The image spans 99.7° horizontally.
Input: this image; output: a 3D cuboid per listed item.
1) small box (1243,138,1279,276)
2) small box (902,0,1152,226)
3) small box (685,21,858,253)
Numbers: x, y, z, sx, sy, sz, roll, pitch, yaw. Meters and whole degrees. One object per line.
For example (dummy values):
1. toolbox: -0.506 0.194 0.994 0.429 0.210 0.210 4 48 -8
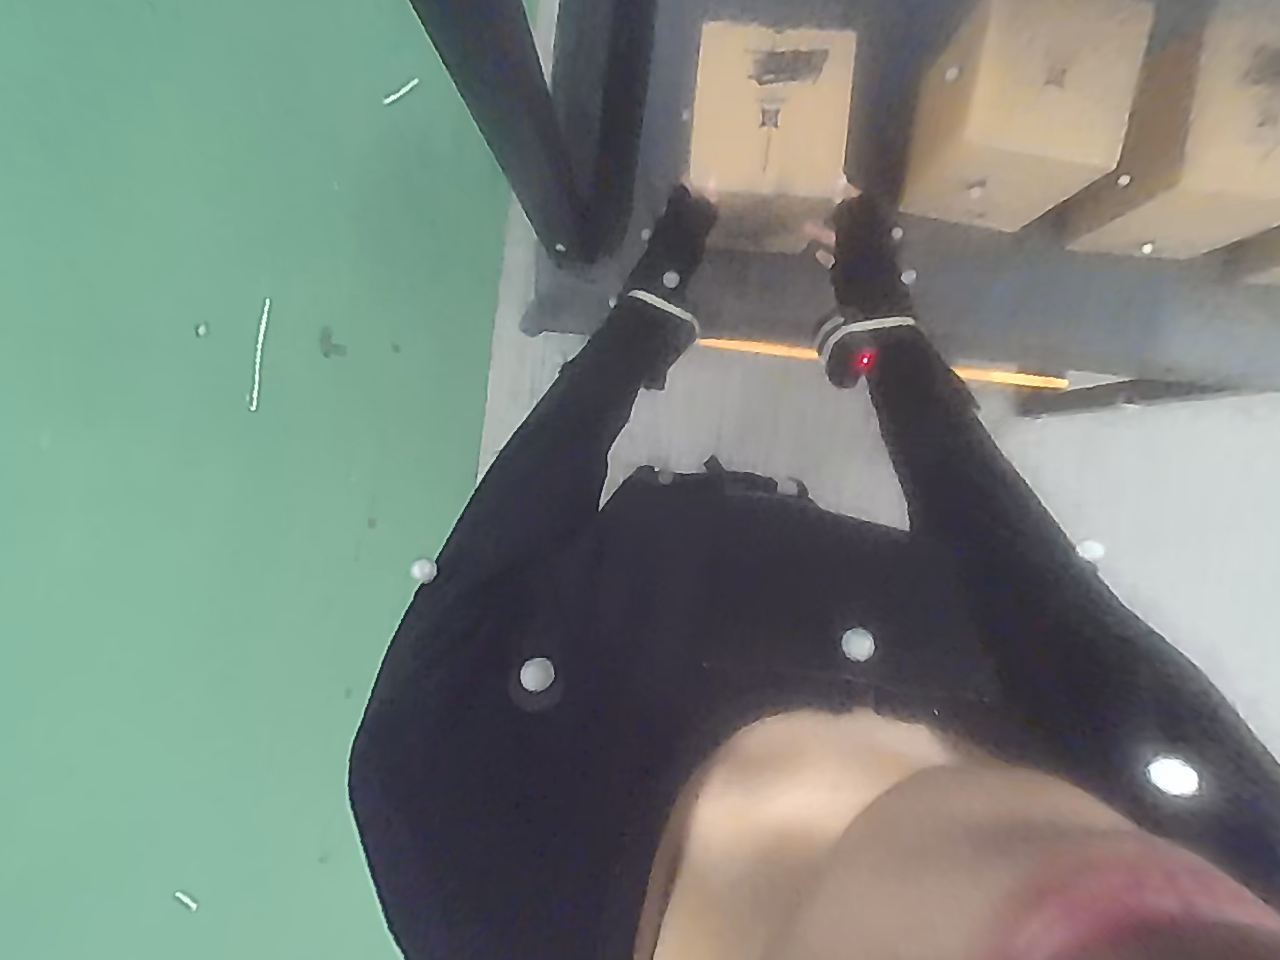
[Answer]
1. small box: 0.880 -0.343 0.632 0.168 0.176 0.179 6 92 2
2. small box: 0.442 -0.433 0.650 0.168 0.176 0.179 11 92 2
3. small box: 0.146 -0.400 0.658 0.168 0.176 0.179 5 95 2
